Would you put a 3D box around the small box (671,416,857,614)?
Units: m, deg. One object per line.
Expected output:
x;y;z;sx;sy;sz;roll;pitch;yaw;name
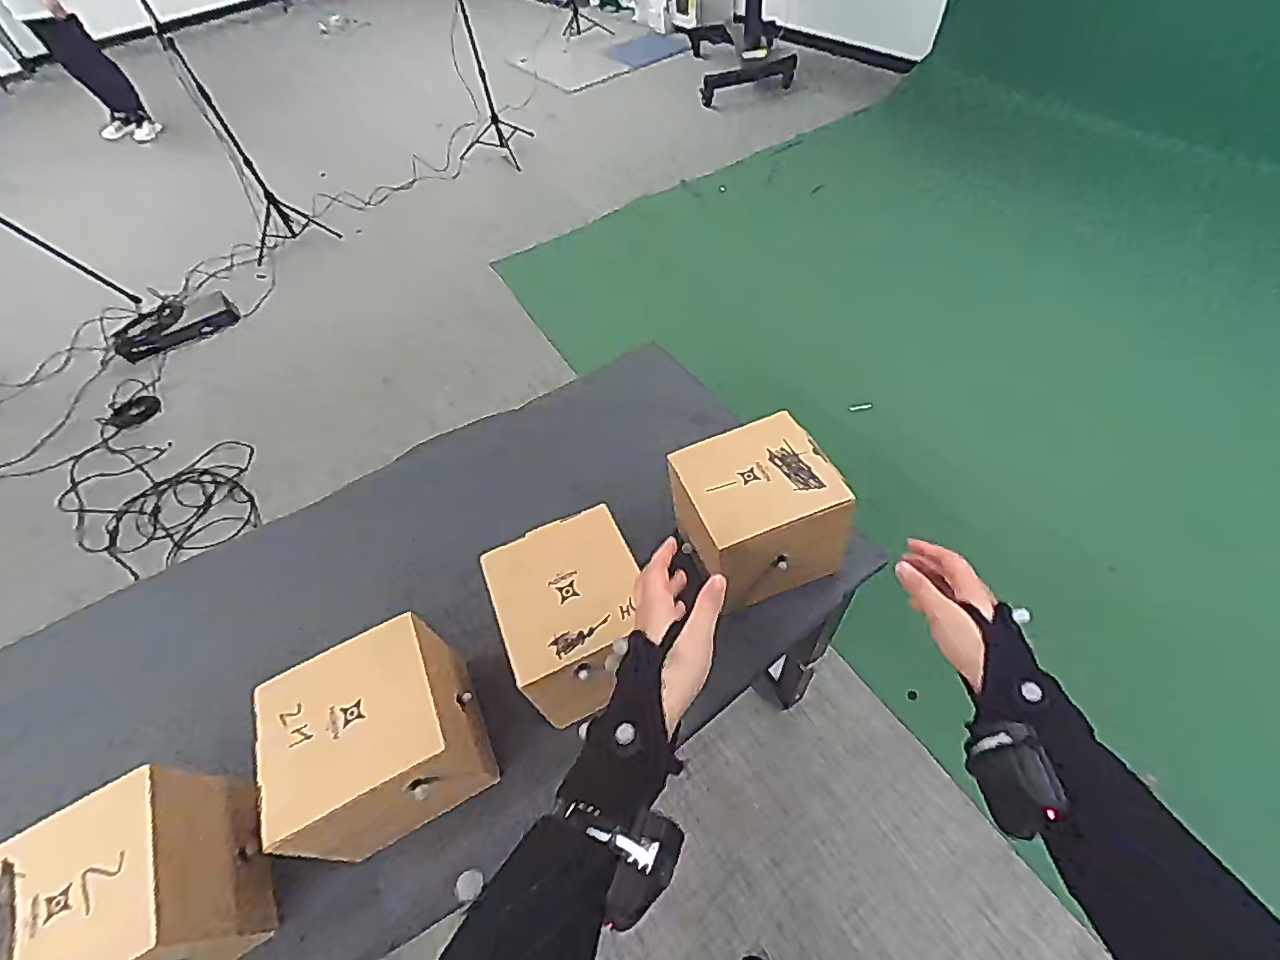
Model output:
0.154;0.050;0.719;0.179;0.176;0.168;-20;50;-5;small box

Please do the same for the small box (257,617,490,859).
-0.285;0.290;0.606;0.179;0.176;0.168;-26;53;-11;small box
